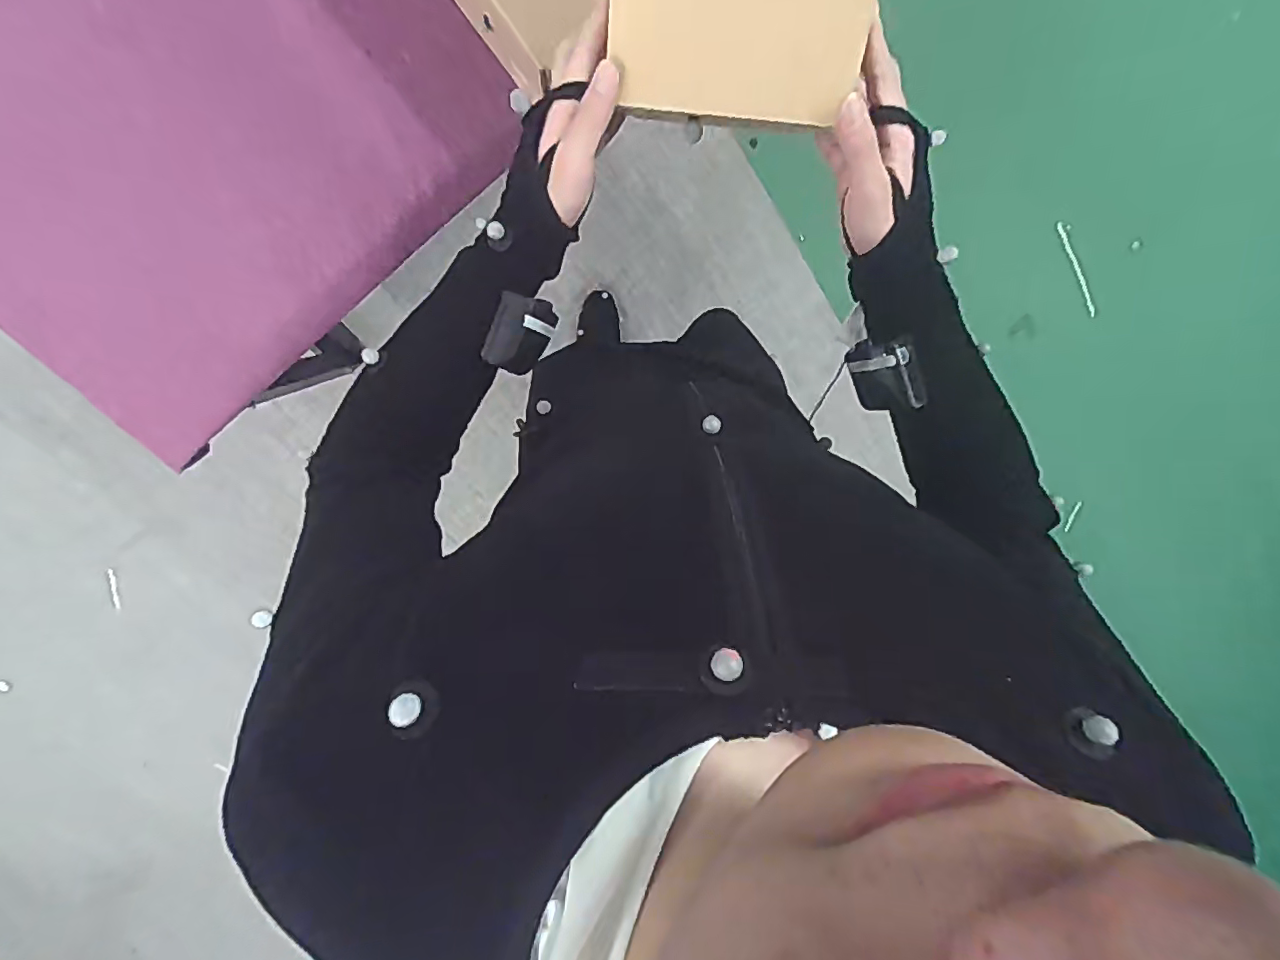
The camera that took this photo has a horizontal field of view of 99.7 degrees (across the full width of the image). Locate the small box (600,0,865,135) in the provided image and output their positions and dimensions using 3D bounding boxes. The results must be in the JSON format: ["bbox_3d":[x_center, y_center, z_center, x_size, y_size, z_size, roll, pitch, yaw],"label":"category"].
[{"bbox_3d":[0.070,-0.360,0.392,0.168,0.176,0.179,7,121,4],"label":"small box"}]

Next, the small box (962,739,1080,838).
[{"bbox_3d":[1.019,0.848,1.466,0.168,0.176,0.179,22,104,-13],"label":"small box"}]
